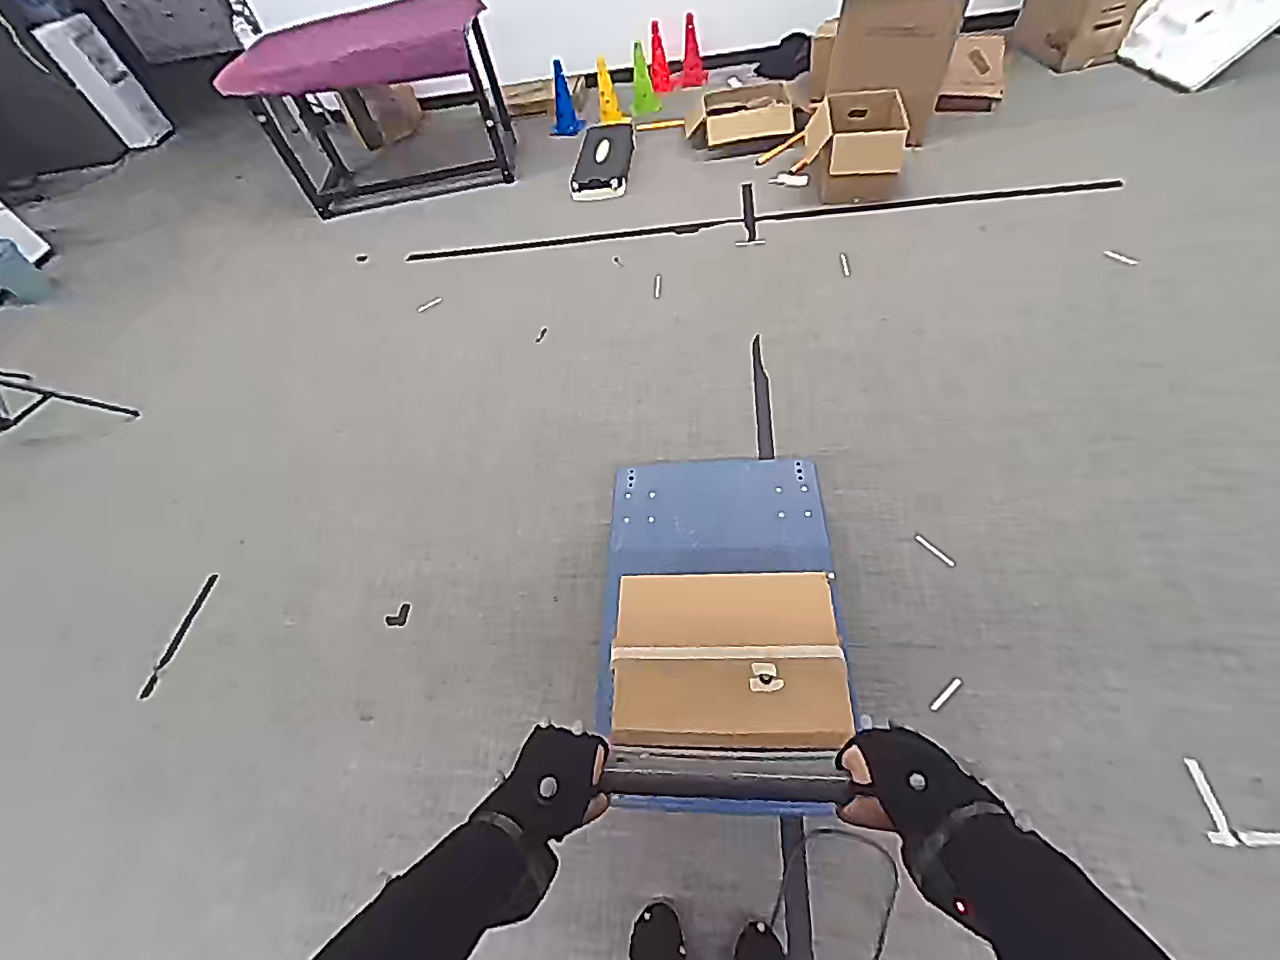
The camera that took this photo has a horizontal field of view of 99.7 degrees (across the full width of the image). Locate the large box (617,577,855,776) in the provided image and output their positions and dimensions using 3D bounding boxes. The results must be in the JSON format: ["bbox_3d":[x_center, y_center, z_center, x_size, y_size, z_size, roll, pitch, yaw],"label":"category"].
[{"bbox_3d":[0.174,0.412,1.108,0.408,0.320,0.320,-3,55,6],"label":"large box"}]
